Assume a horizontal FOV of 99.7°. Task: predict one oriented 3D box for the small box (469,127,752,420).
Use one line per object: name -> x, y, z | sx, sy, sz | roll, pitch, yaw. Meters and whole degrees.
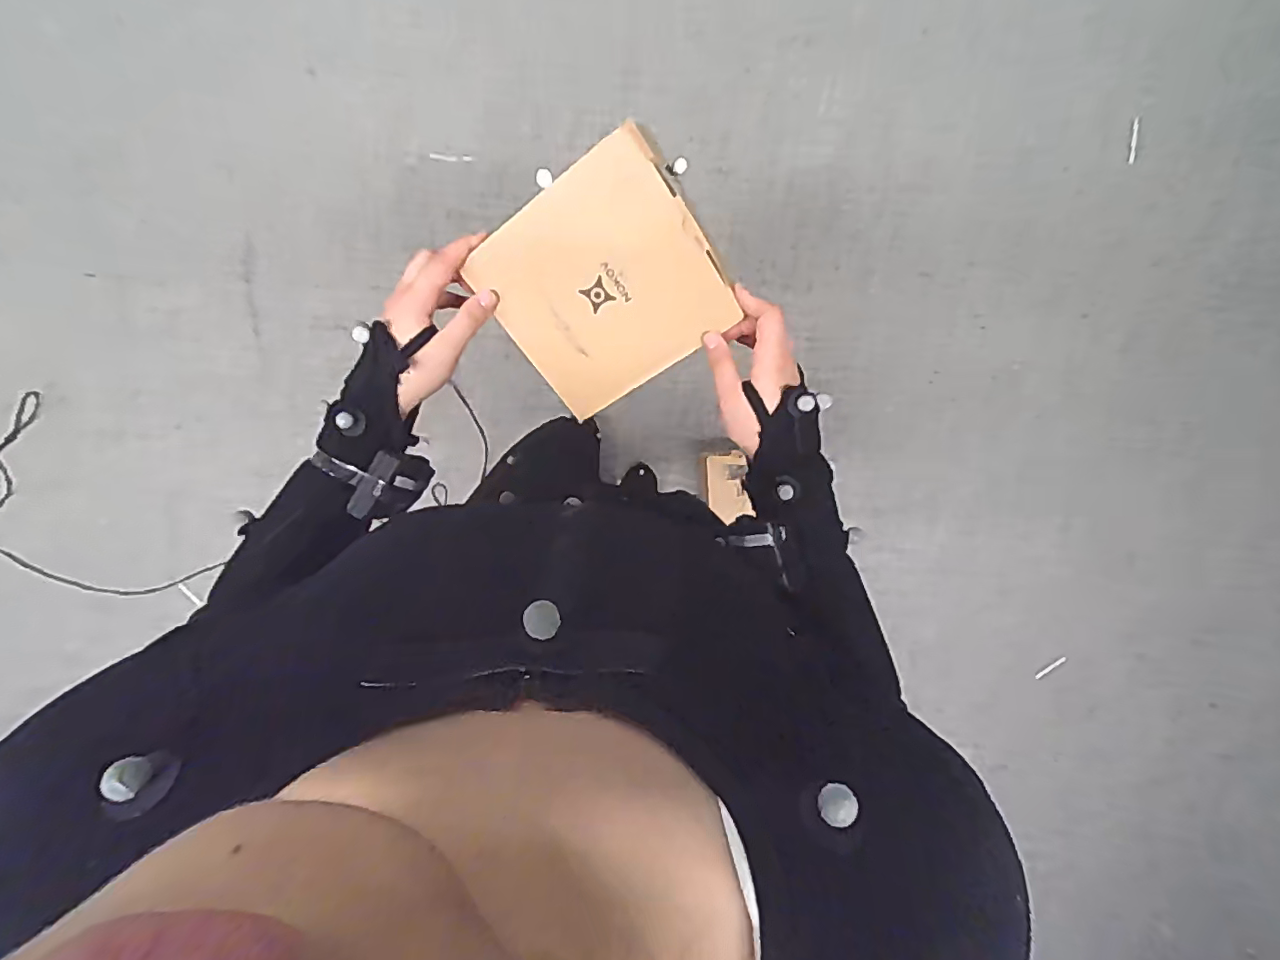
small box -> -0.018, -0.193, 0.502 | 0.179, 0.176, 0.168 | -29, 114, 22
